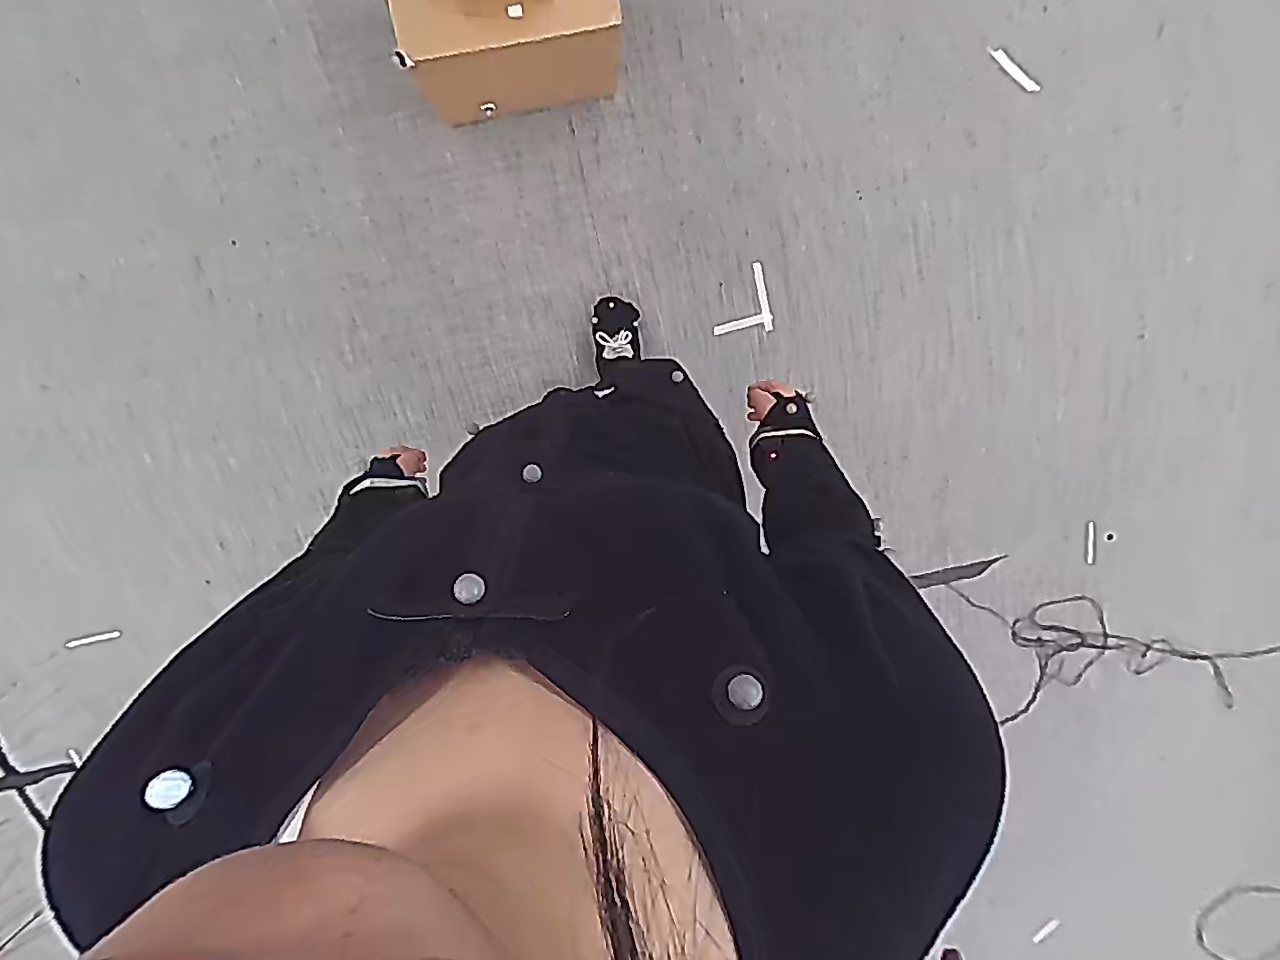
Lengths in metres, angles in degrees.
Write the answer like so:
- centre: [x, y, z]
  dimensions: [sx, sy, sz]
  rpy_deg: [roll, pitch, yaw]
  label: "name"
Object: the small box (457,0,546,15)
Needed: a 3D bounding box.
- centre: [-0.240, -0.890, 0.861]
  dimensions: [0.179, 0.176, 0.168]
  rpy_deg: [-14, 107, -1]
  label: "small box"
